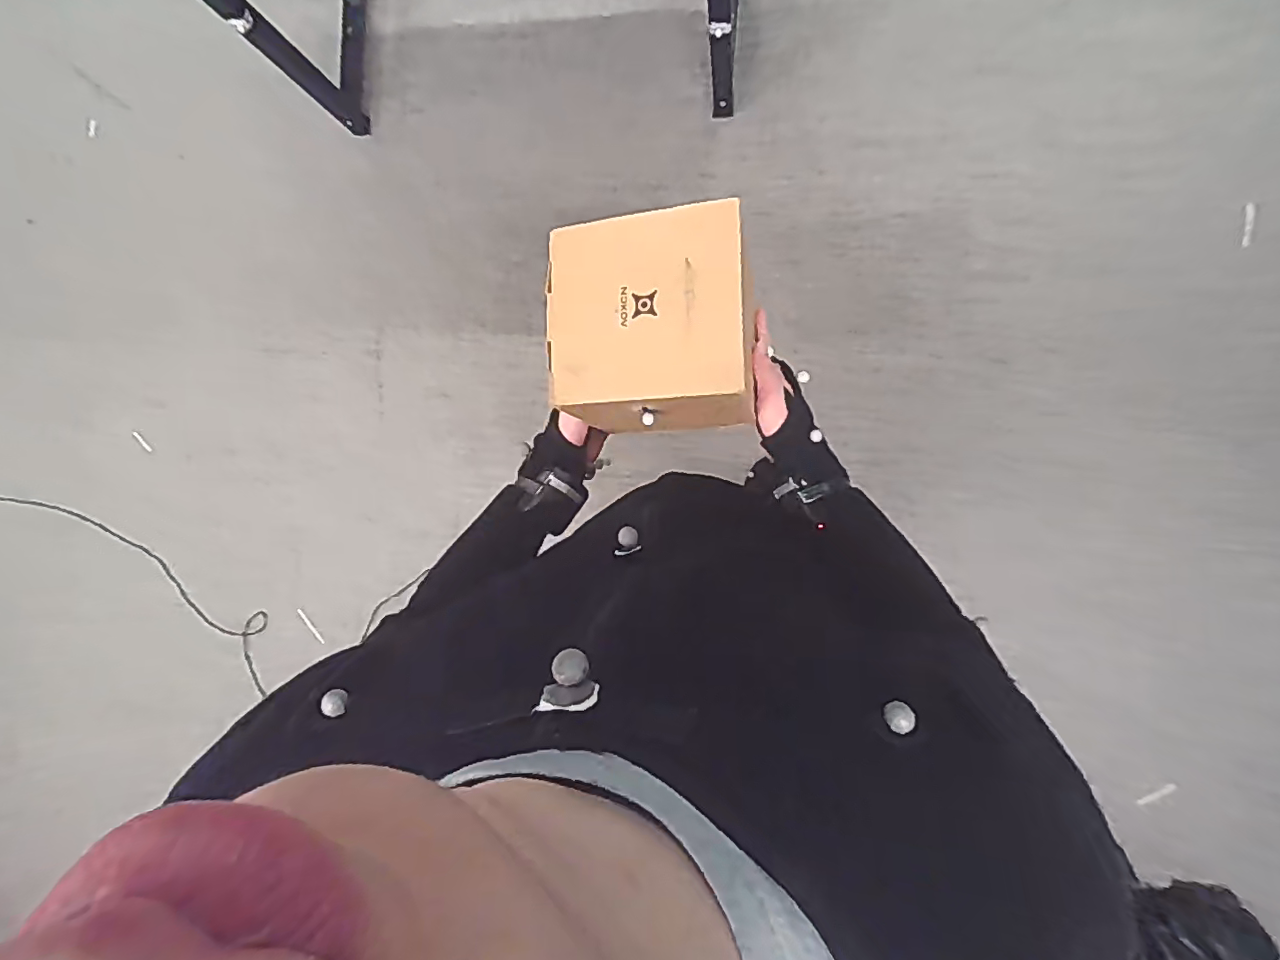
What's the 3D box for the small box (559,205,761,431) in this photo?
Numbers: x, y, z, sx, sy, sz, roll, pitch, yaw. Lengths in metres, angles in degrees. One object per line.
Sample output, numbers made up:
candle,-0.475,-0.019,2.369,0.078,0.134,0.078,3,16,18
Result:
small box,0.030,-0.146,0.555,0.179,0.176,0.168,-2,86,15
